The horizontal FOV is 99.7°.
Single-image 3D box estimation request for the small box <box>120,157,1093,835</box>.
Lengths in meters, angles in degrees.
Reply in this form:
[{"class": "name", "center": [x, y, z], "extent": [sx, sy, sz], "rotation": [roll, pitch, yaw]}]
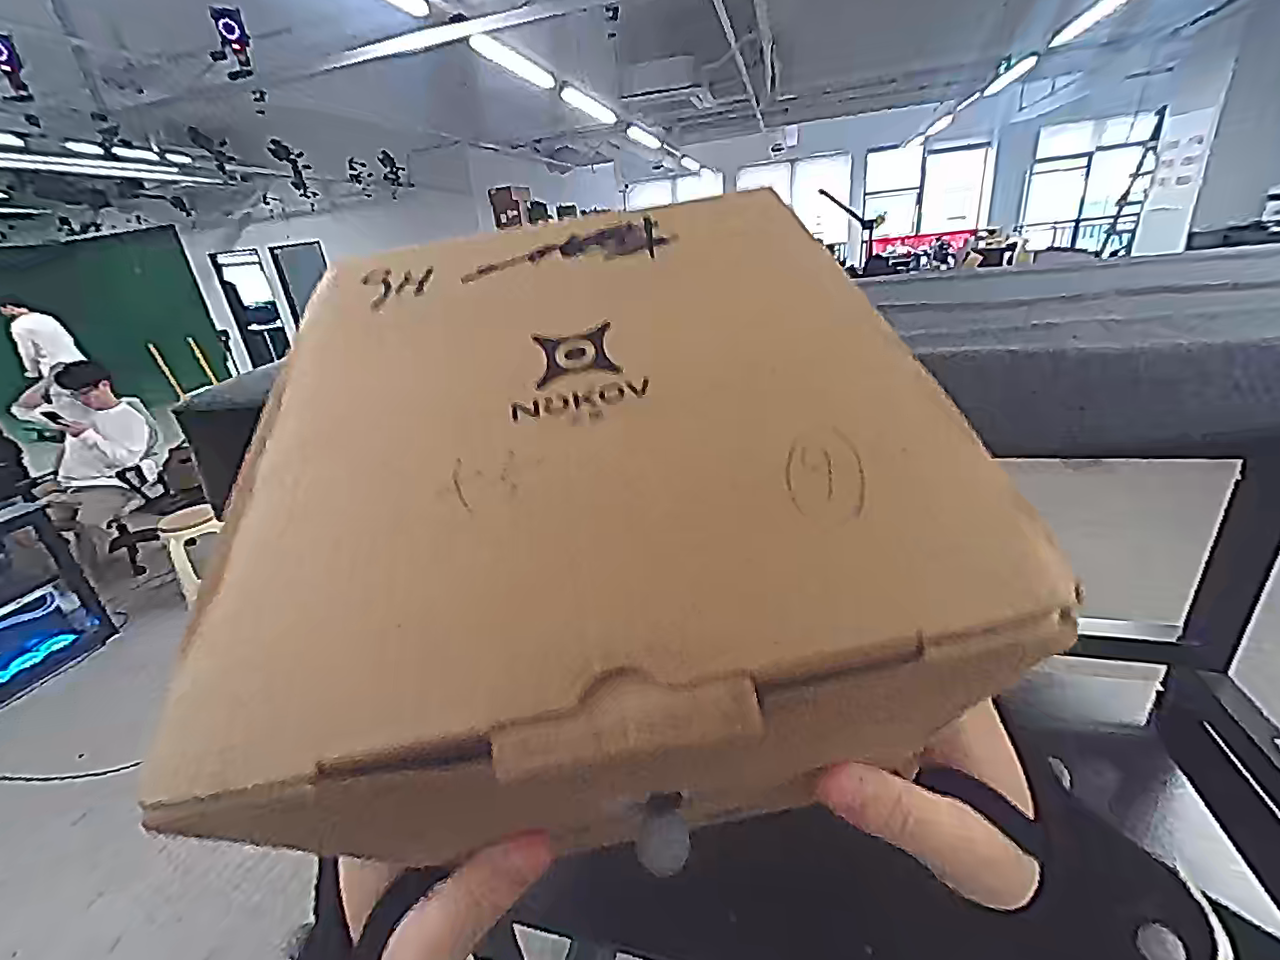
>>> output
[{"class": "small box", "center": [-0.010, 0.016, 0.201], "extent": [0.168, 0.176, 0.179], "rotation": [-10, 52, -3]}]
